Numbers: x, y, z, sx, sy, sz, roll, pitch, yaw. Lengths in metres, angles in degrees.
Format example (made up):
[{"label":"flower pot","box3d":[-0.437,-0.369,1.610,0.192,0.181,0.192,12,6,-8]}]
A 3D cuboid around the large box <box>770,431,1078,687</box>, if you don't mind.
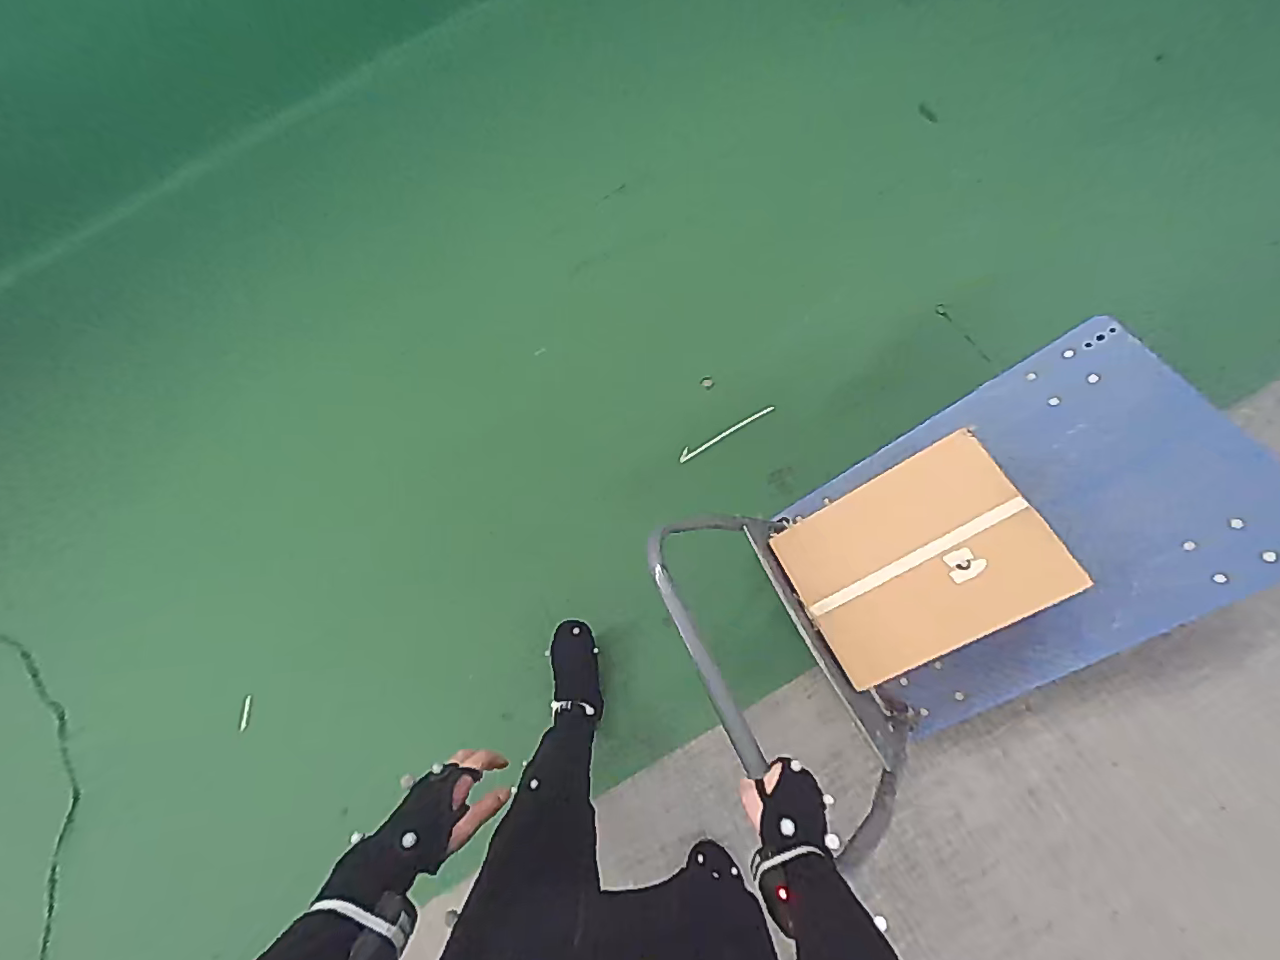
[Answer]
[{"label":"large box","box3d":[0.539,0.170,1.095,0.408,0.320,0.320,-34,68,17]}]
